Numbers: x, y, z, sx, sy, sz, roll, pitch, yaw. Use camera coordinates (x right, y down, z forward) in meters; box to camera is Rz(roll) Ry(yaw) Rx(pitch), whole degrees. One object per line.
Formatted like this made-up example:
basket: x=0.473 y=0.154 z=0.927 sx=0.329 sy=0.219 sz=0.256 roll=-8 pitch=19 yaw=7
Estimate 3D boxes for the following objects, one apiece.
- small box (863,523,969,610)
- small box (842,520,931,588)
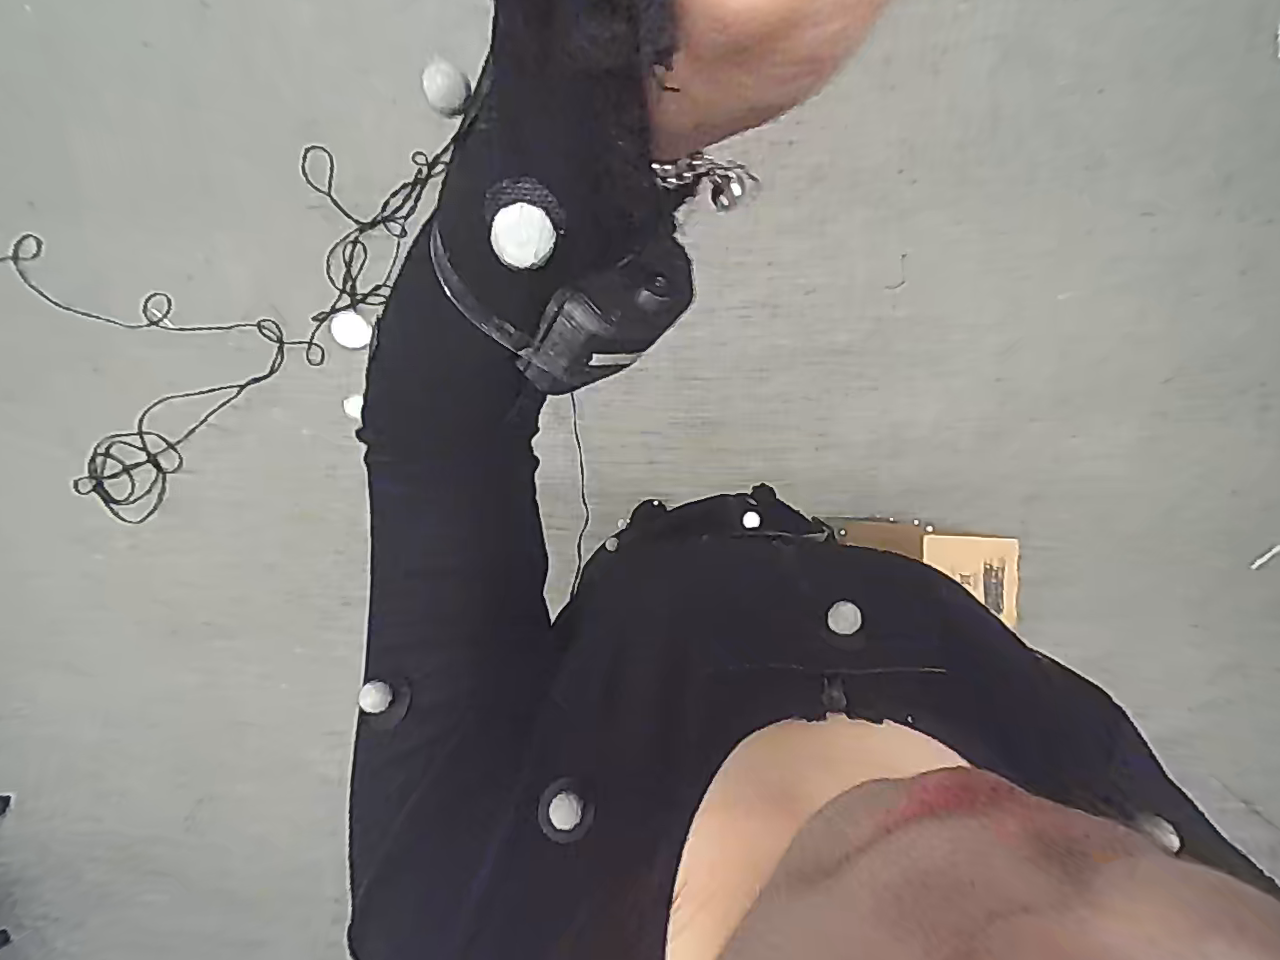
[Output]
small box: x=0.626 y=0.191 z=1.245 sx=0.168 sy=0.176 sz=0.179 roll=3 pitch=89 yaw=3
small box: x=0.639 y=0.193 z=1.409 sx=0.179 sy=0.176 sz=0.168 roll=2 pitch=89 yaw=2
